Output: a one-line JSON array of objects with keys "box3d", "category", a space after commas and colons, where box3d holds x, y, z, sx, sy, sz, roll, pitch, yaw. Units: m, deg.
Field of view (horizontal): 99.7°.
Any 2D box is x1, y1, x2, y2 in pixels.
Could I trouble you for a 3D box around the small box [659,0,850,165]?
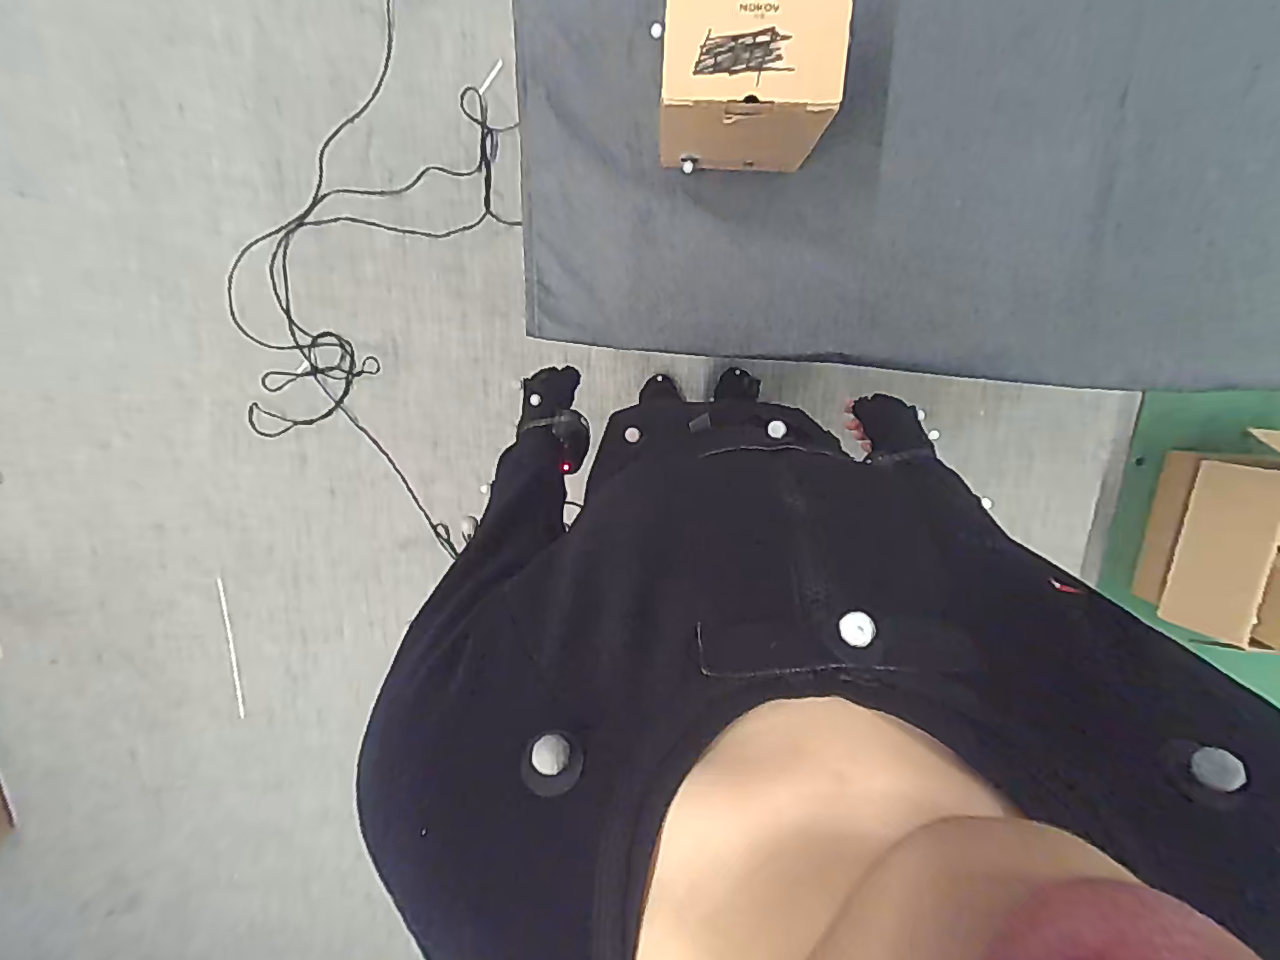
[{"box3d": [0.107, -0.446, 0.555, 0.168, 0.176, 0.179, 3, 101, 2], "category": "small box"}]
